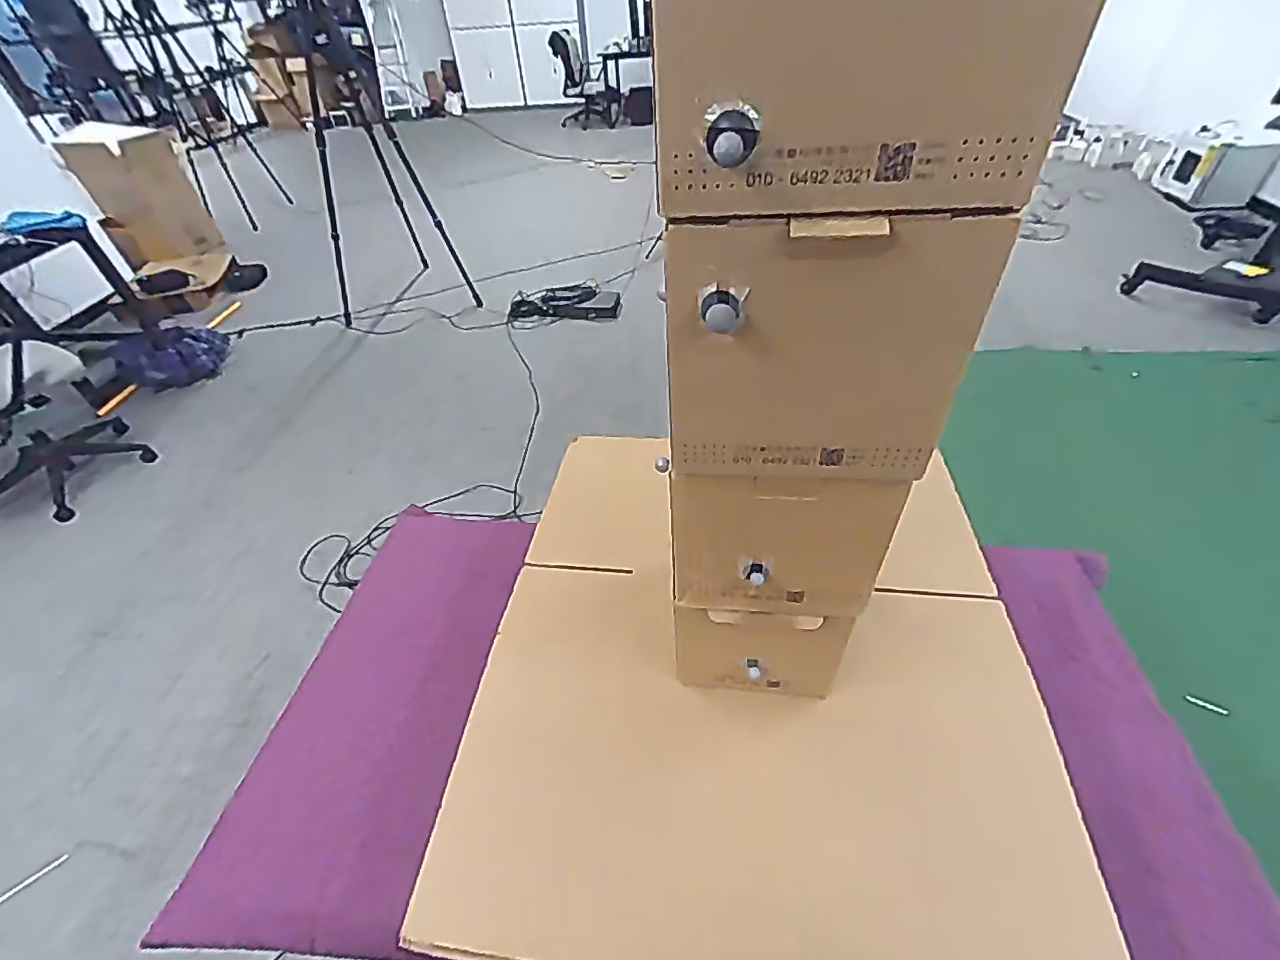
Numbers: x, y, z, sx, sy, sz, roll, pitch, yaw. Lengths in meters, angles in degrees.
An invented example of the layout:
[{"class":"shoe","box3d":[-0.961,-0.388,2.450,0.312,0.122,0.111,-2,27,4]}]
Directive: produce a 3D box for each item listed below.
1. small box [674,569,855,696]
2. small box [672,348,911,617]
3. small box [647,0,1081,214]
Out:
[{"class":"small box","box3d":[0.129,0.113,0.604,0.168,0.176,0.179,2,44,9]},{"class":"small box","box3d":[0.117,-0.001,0.488,0.168,0.176,0.179,1,44,7]},{"class":"small box","box3d":[0.093,-0.237,0.258,0.168,0.176,0.179,2,42,7]}]
